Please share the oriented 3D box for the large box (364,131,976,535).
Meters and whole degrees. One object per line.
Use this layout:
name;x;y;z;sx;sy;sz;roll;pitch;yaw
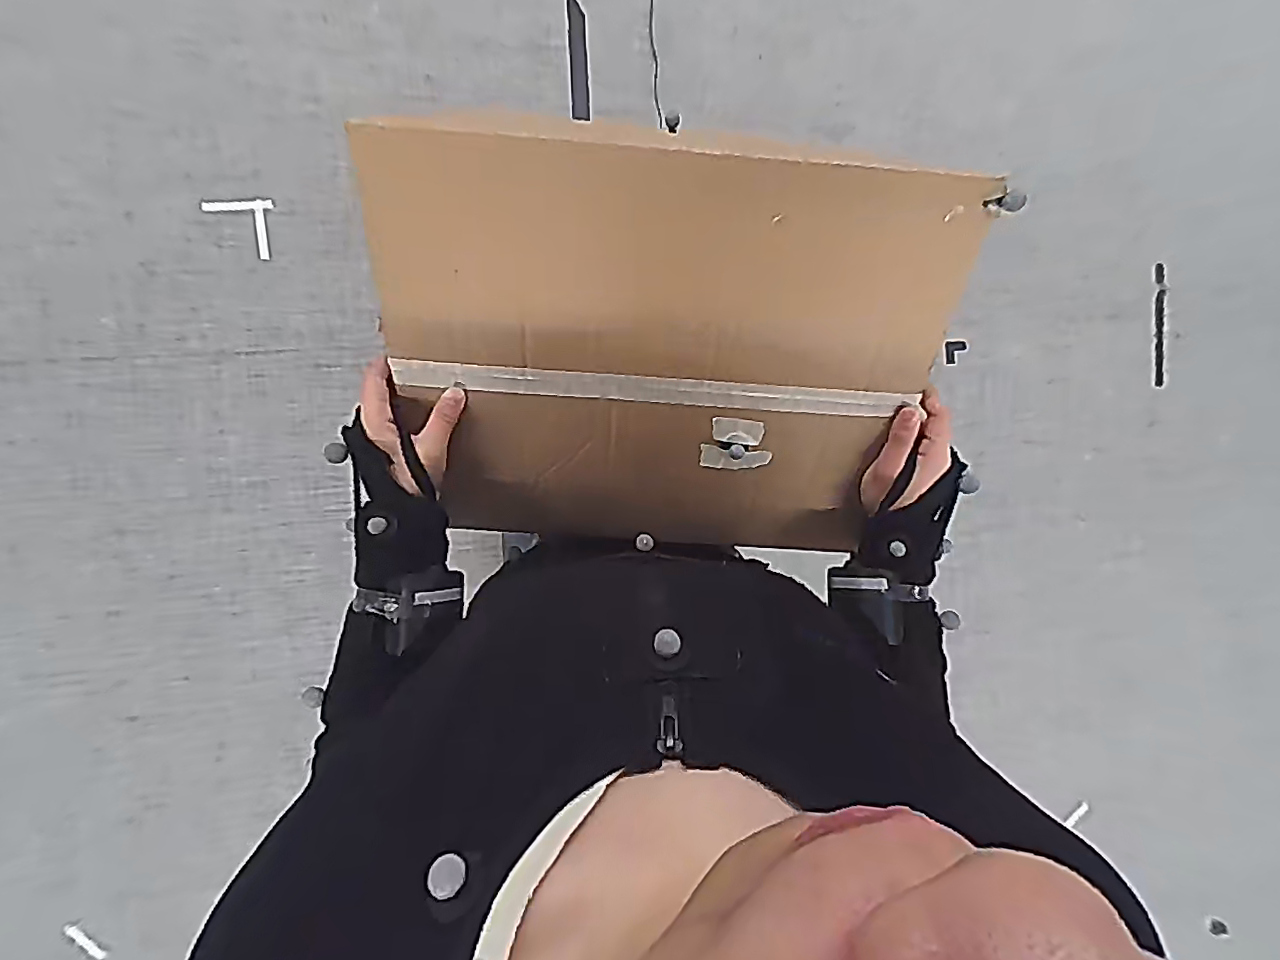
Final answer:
large box;0.012;-0.162;0.551;0.408;0.320;0.320;2;126;-3
